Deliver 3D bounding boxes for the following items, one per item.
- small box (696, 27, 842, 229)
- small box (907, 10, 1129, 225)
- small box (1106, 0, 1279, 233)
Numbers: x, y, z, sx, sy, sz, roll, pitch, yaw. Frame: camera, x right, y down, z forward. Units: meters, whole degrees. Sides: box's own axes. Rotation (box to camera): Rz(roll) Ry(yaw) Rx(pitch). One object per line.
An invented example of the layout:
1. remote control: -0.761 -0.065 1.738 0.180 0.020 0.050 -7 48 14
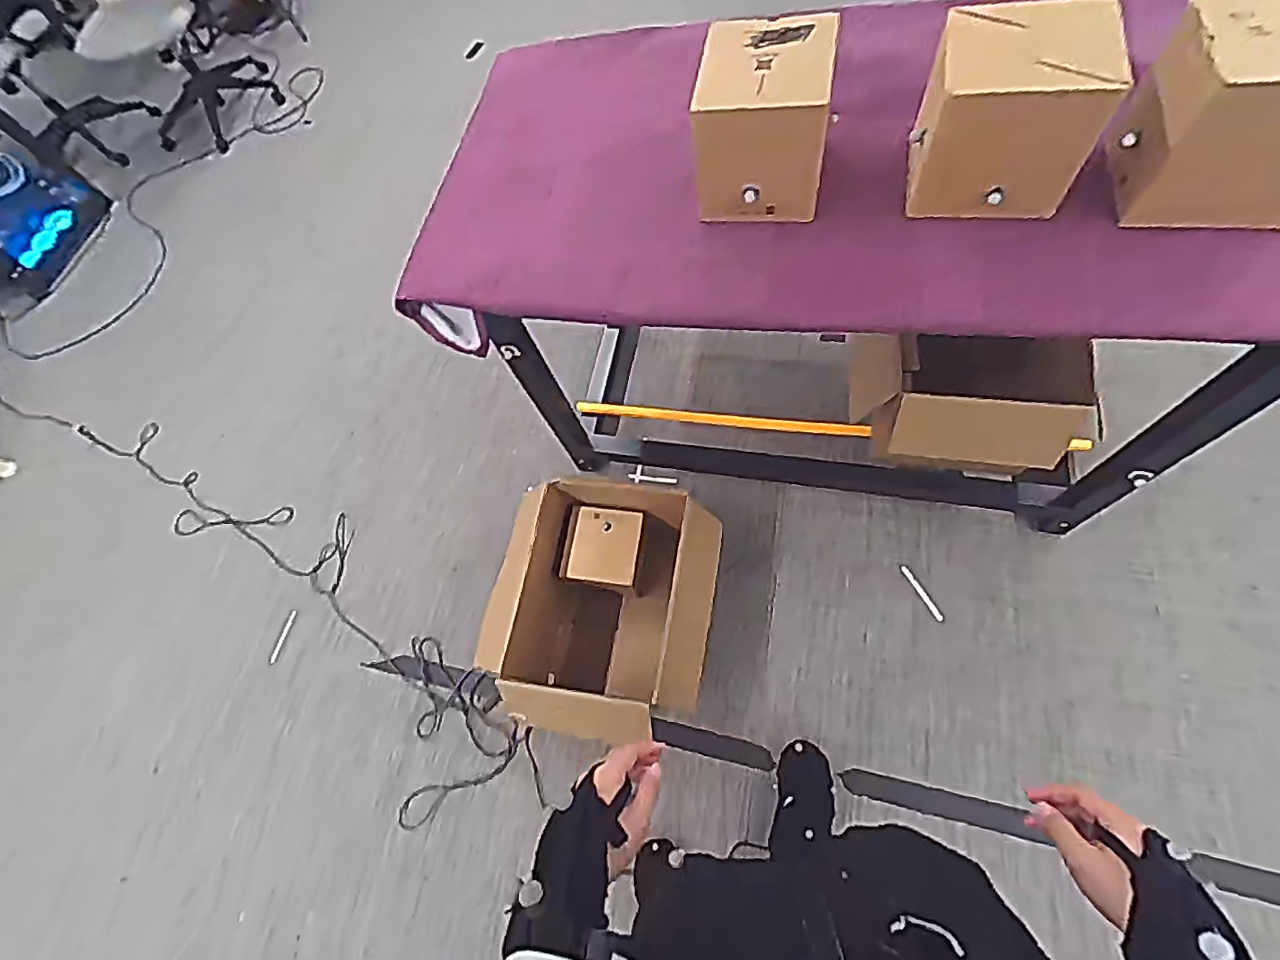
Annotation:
1. small box: 0.179 -0.485 0.758 0.168 0.176 0.179 7 68 14
2. small box: 0.456 -0.451 0.683 0.179 0.176 0.168 8 67 15
3. small box: 0.689 -0.407 0.617 0.179 0.176 0.168 8 66 15
